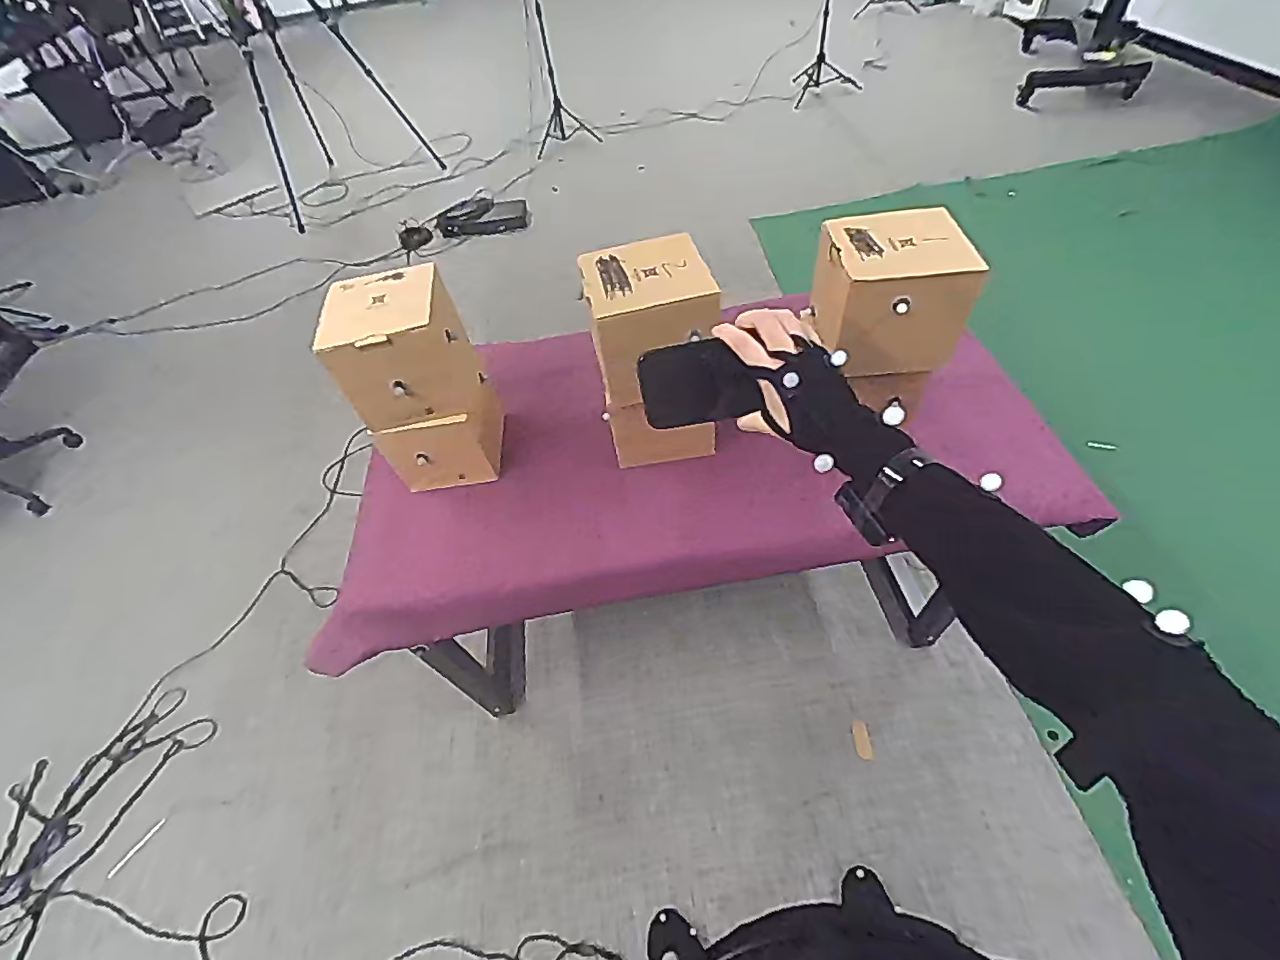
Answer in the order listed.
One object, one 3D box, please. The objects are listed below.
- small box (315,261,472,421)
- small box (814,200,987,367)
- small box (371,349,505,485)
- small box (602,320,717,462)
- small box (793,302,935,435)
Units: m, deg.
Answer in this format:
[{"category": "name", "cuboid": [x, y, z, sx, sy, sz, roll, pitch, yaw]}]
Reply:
[{"category": "small box", "cuboid": [-0.373, -0.211, 0.855, 0.168, 0.176, 0.179, -12, 53, -2]}, {"category": "small box", "cuboid": [0.363, -0.283, 0.798, 0.179, 0.176, 0.168, -4, 52, 5]}, {"category": "small box", "cuboid": [-0.352, -0.105, 0.980, 0.168, 0.176, 0.179, -9, 52, 2]}, {"category": "small box", "cuboid": [0.035, -0.152, 0.954, 0.179, 0.176, 0.168, -9, 52, 2]}, {"category": "small box", "cuboid": [0.373, -0.194, 0.936, 0.179, 0.176, 0.168, -4, 52, 6]}]
